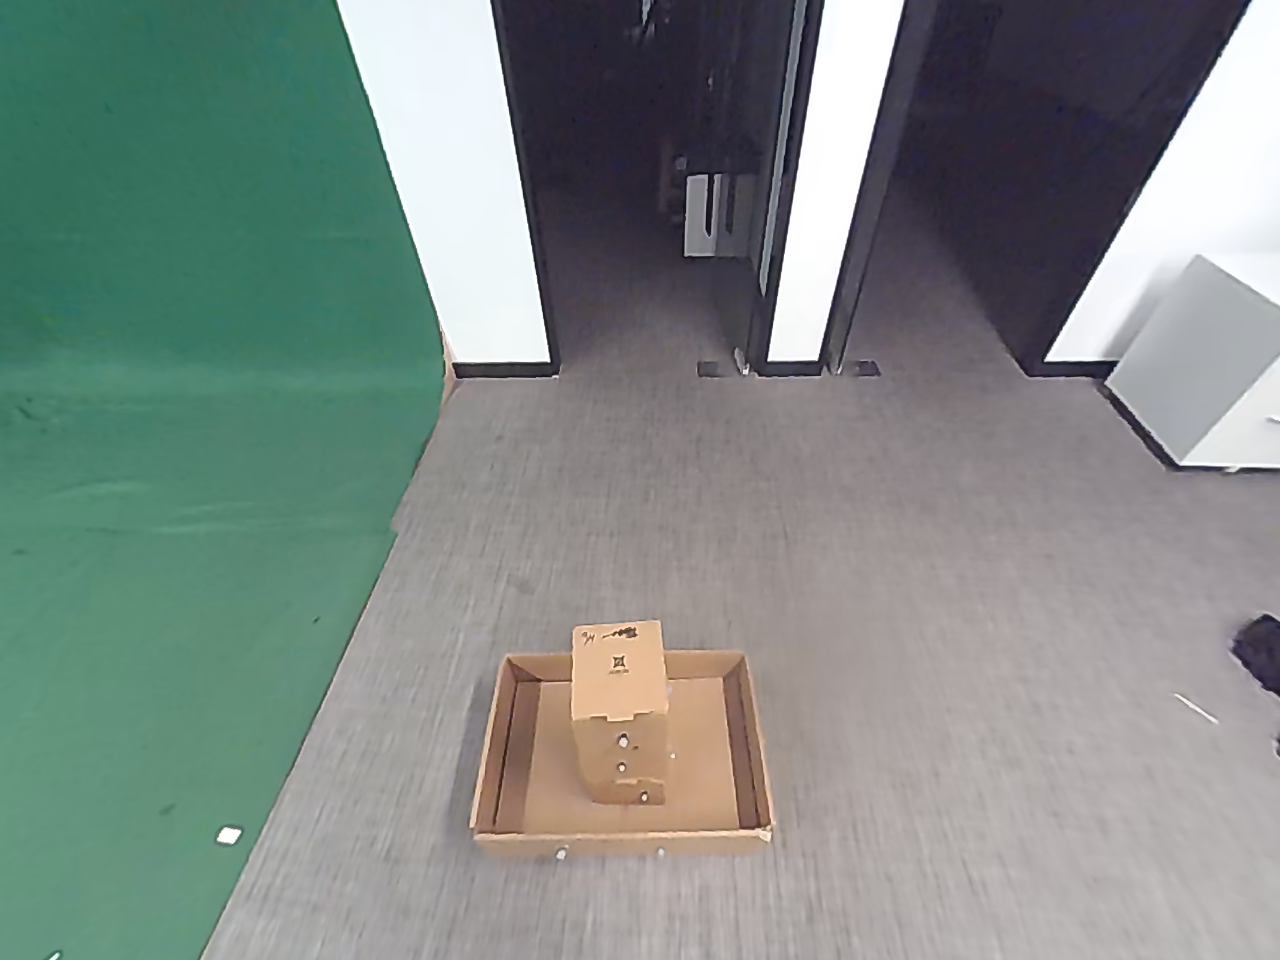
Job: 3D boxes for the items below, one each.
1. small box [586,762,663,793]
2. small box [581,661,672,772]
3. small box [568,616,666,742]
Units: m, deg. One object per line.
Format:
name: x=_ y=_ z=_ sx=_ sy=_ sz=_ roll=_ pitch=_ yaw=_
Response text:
small box: x=-0.029 y=0.608 z=1.251 sx=0.168 sy=0.176 sz=0.179 roll=0 pitch=44 yaw=2
small box: x=-0.031 y=0.495 z=1.133 sx=0.179 sy=0.176 sz=0.168 roll=-3 pitch=46 yaw=-3
small box: x=-0.039 y=0.379 z=1.018 sx=0.168 sy=0.176 sz=0.179 roll=-3 pitch=46 yaw=-1
